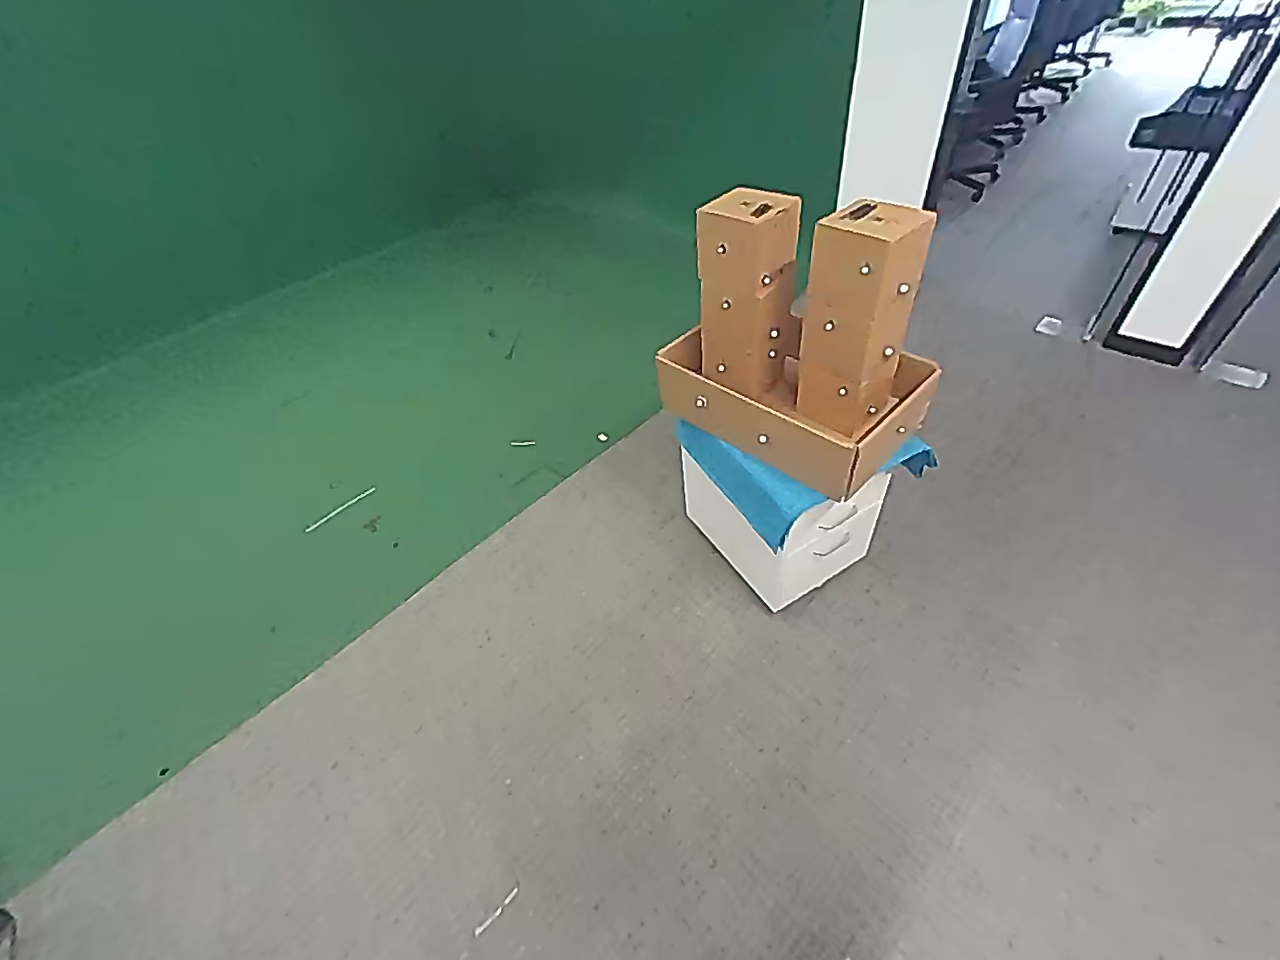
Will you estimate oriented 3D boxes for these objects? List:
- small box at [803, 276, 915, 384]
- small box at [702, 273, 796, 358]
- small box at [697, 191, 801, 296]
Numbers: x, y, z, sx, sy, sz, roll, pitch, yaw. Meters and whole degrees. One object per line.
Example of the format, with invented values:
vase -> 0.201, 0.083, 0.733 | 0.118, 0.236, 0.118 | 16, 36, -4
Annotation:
small box -> 0.507, -0.352, 1.275 | 0.168, 0.176, 0.179 | -35, 51, -23
small box -> 0.277, -0.440, 1.396 | 0.179, 0.176, 0.168 | 29, 56, 30
small box -> 0.257, -0.558, 1.284 | 0.179, 0.176, 0.168 | 32, 58, 34
